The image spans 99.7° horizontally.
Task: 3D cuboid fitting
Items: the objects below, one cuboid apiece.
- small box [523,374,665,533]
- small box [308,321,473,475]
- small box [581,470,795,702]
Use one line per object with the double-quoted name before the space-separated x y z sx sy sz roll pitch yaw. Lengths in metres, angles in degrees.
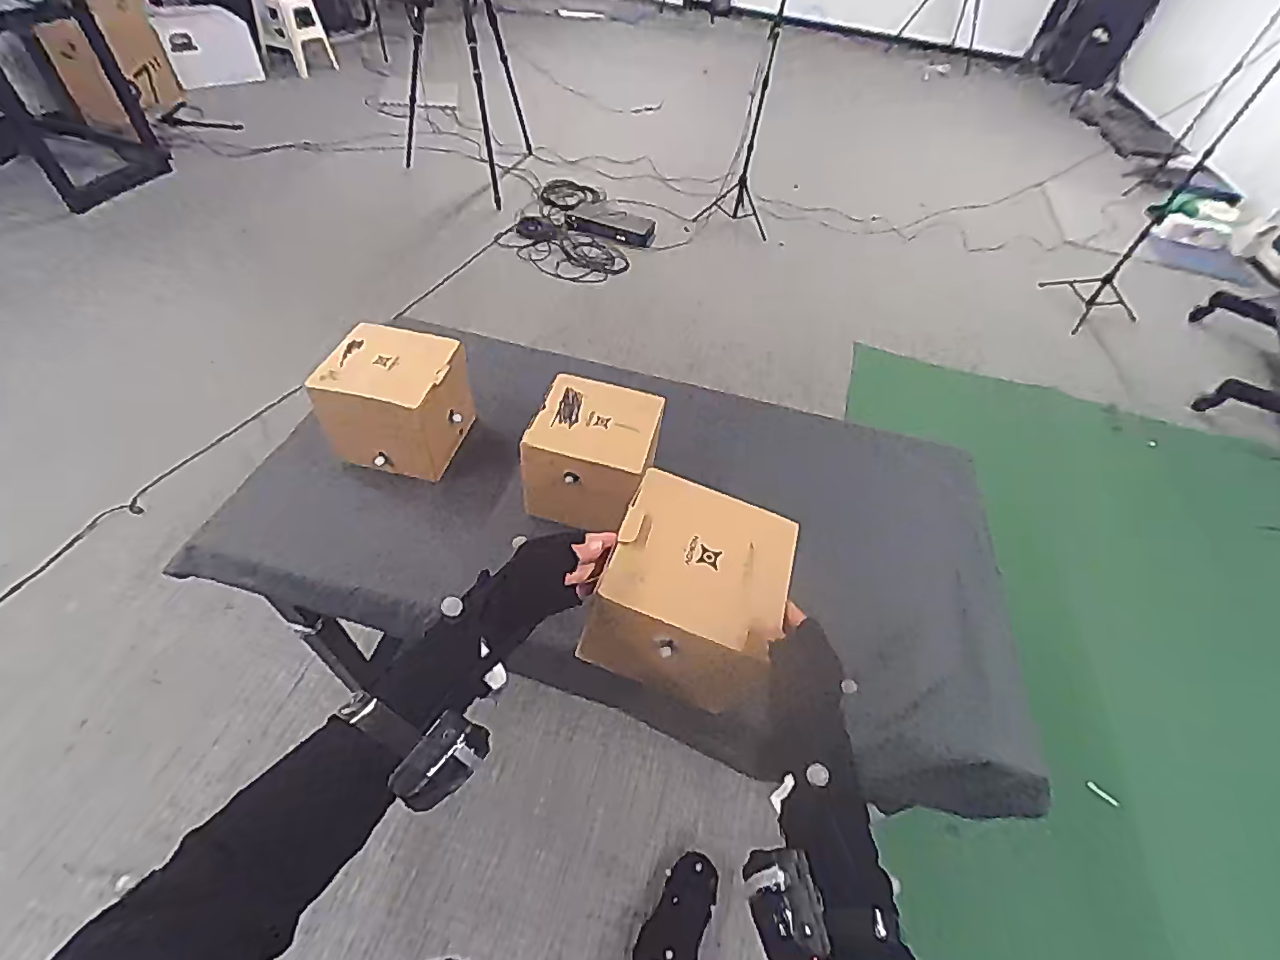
"small box" -0.071 -0.037 0.859 0.179 0.176 0.168 15 50 4
"small box" -0.391 -0.129 0.891 0.179 0.176 0.168 13 50 2
"small box" 0.046 0.123 0.598 0.179 0.176 0.168 21 52 1
